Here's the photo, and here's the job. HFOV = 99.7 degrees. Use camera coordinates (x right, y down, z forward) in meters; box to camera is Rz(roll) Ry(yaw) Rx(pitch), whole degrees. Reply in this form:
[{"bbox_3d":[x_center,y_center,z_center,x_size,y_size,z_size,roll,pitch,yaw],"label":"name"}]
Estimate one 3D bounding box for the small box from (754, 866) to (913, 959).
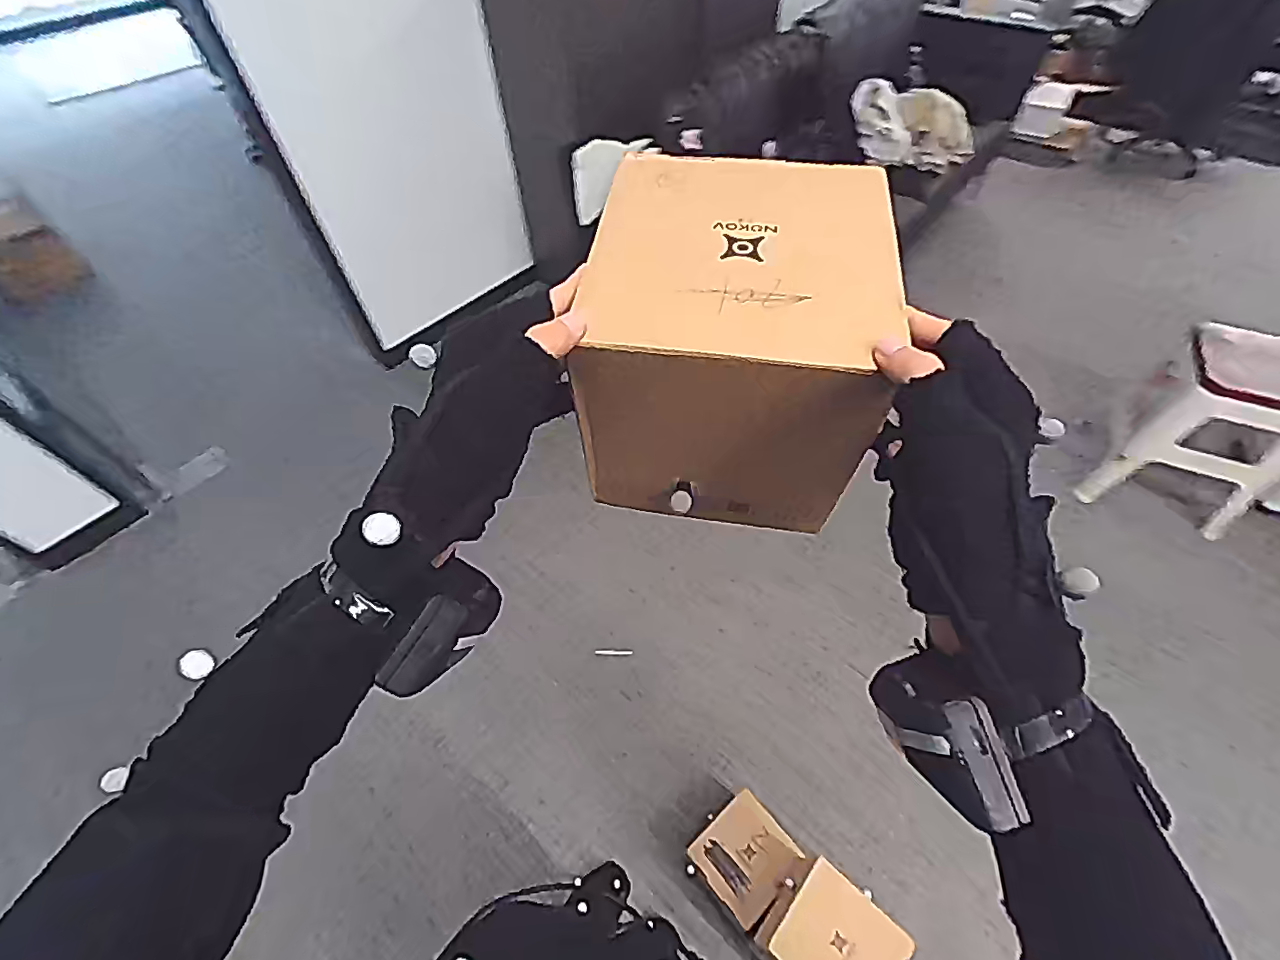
[{"bbox_3d":[0.313,0.798,0.910,0.179,0.176,0.168,35,61,25],"label":"small box"}]
